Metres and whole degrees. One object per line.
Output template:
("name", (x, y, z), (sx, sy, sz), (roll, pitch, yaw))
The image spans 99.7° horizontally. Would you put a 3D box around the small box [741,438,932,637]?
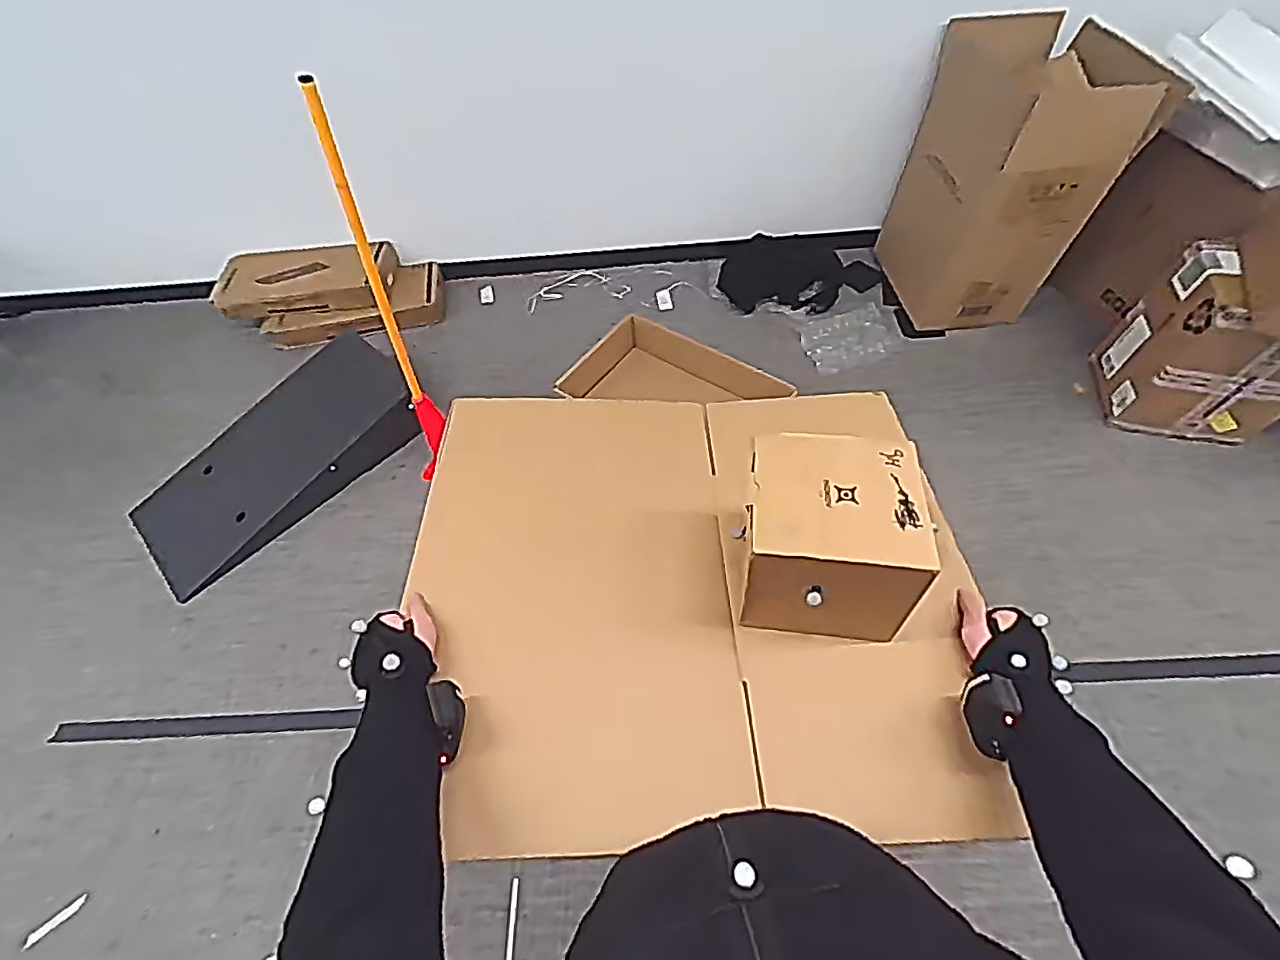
("small box", (0.211, 0.069, 0.631), (0.179, 0.176, 0.168), (4, 52, 10))
